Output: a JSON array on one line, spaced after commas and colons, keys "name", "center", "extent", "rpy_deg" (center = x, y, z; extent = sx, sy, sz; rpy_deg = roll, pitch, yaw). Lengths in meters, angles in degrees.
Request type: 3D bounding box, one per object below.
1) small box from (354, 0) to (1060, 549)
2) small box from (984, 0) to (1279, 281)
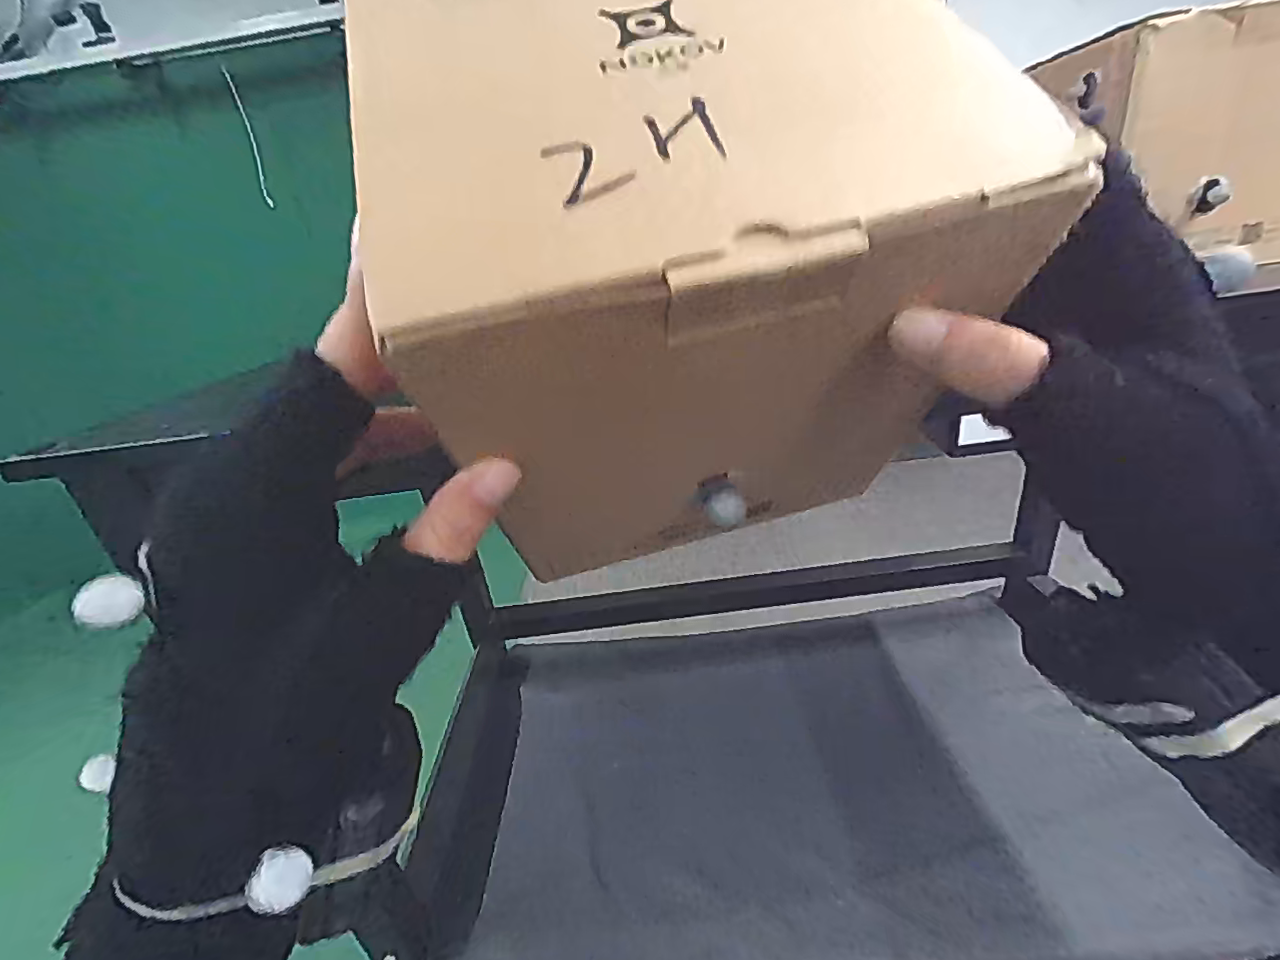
[{"name": "small box", "center": [0.003, -0.094, 0.229], "extent": [0.168, 0.176, 0.179], "rpy_deg": [-15, 63, -5]}, {"name": "small box", "center": [0.413, -0.266, 0.452], "extent": [0.168, 0.176, 0.179], "rpy_deg": [-6, 25, 5]}]
